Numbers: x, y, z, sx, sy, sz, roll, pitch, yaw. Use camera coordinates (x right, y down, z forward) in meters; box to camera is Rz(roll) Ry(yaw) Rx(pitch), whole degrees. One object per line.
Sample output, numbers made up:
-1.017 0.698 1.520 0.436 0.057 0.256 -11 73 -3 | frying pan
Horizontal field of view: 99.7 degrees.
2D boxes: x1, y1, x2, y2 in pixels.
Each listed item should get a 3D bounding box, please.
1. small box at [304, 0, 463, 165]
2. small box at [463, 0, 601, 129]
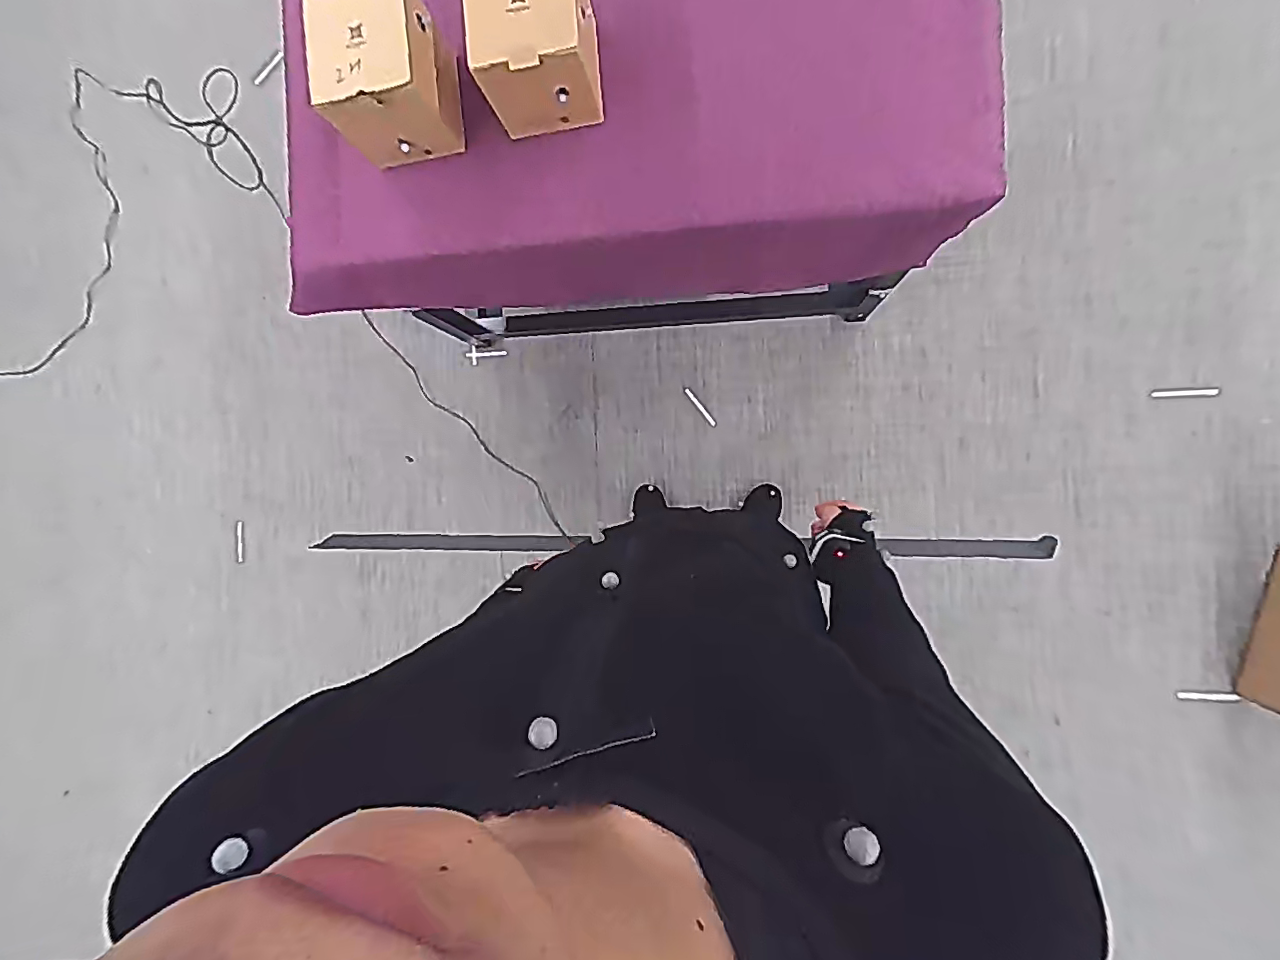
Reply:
-0.407 -0.656 0.879 0.168 0.176 0.179 -6 90 9 | small box
-0.161 -0.683 0.844 0.168 0.176 0.179 -4 90 8 | small box
